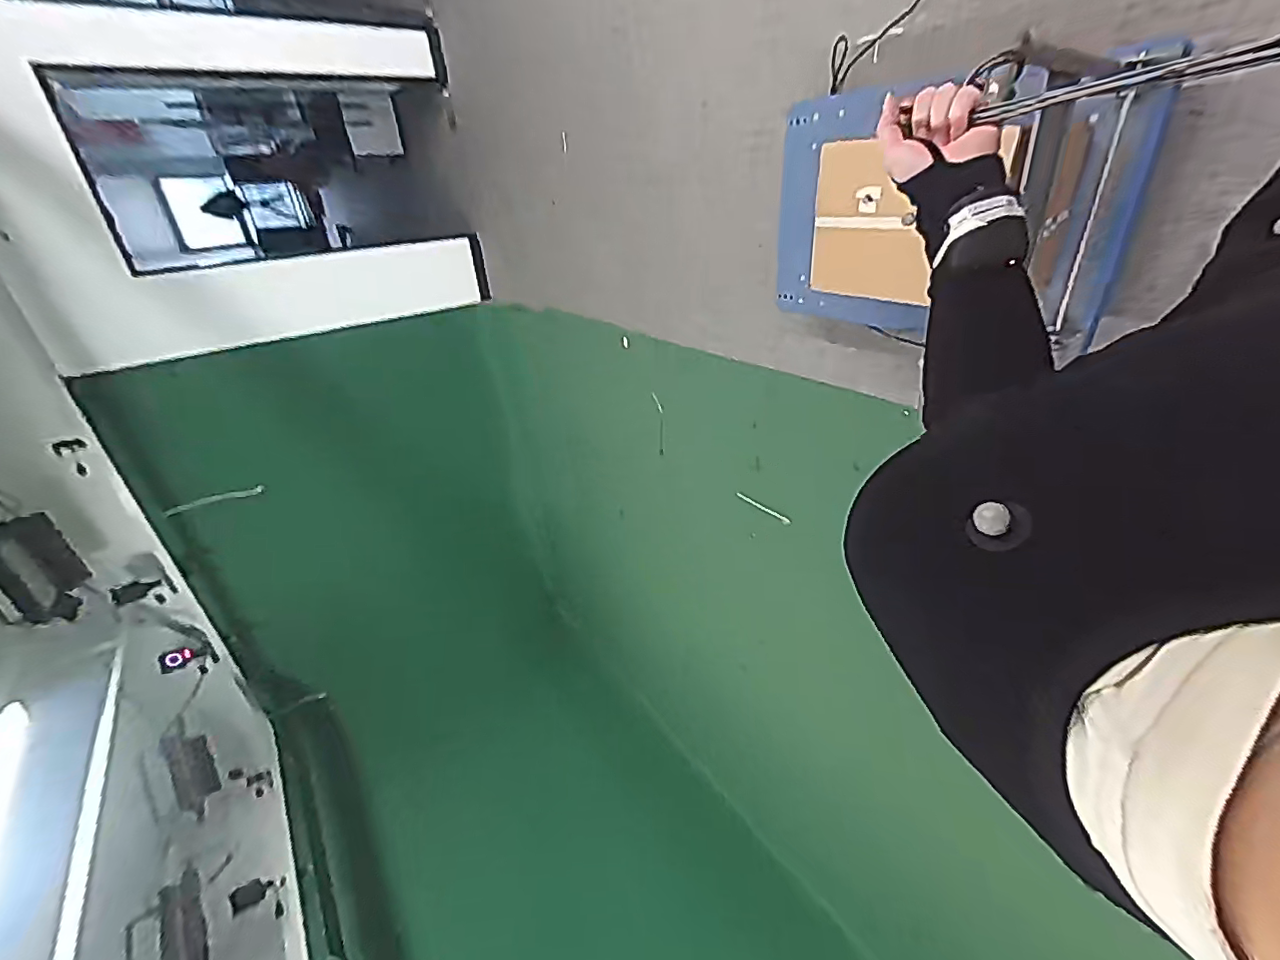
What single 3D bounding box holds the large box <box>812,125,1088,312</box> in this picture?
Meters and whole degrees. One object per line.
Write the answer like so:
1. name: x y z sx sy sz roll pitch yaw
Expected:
1. large box: 0.652 -0.576 1.191 0.408 0.320 0.320 32 134 47
